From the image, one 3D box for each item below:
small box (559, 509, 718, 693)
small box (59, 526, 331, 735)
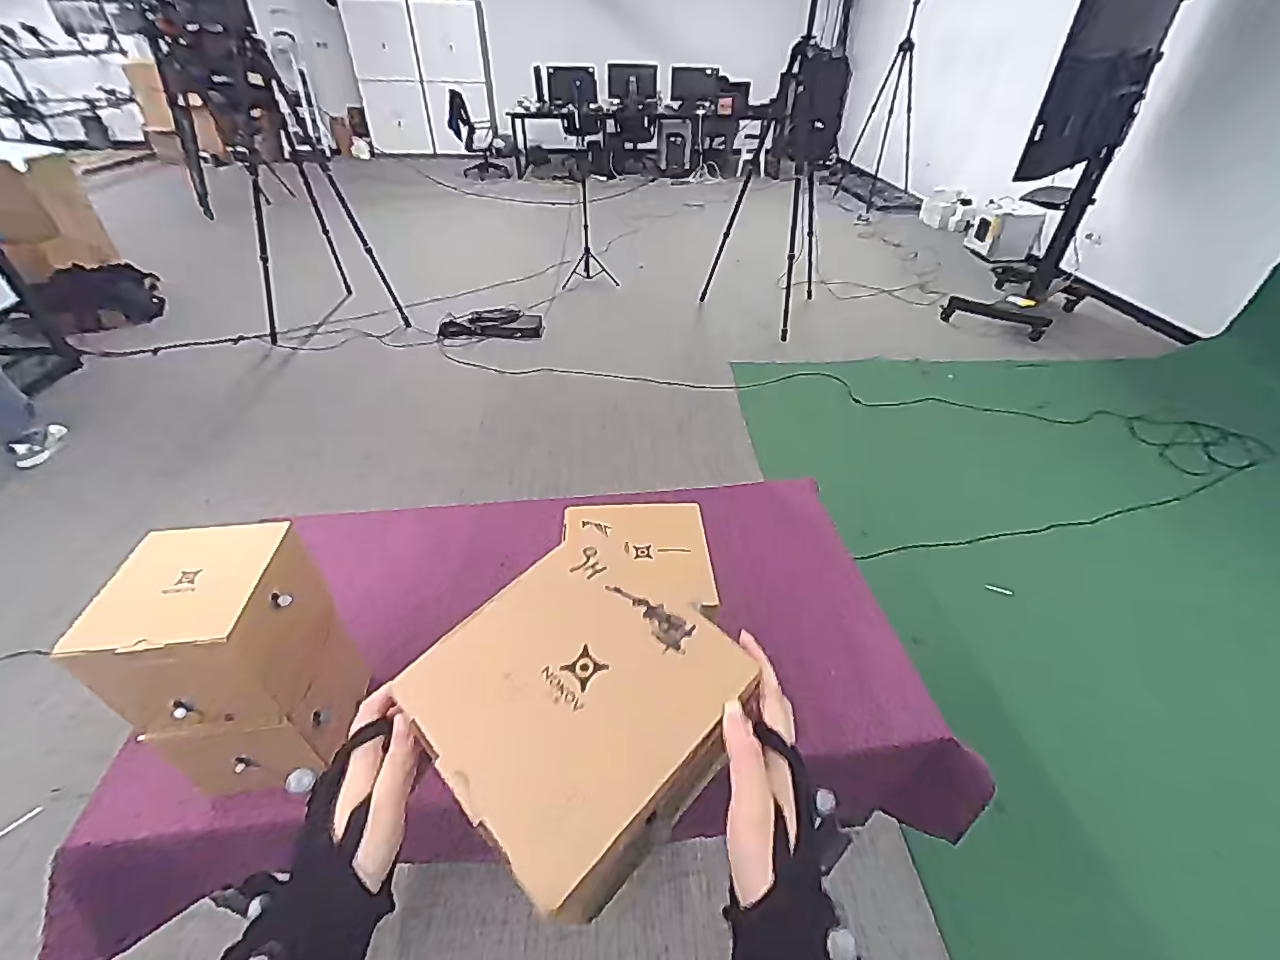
[{"bbox_3d":[-0.005,0.155,0.690,0.179,0.176,0.168,-1,40,-3],"label":"small box"},{"bbox_3d":[-0.500,0.177,0.650,0.168,0.176,0.179,-4,40,-6],"label":"small box"}]
